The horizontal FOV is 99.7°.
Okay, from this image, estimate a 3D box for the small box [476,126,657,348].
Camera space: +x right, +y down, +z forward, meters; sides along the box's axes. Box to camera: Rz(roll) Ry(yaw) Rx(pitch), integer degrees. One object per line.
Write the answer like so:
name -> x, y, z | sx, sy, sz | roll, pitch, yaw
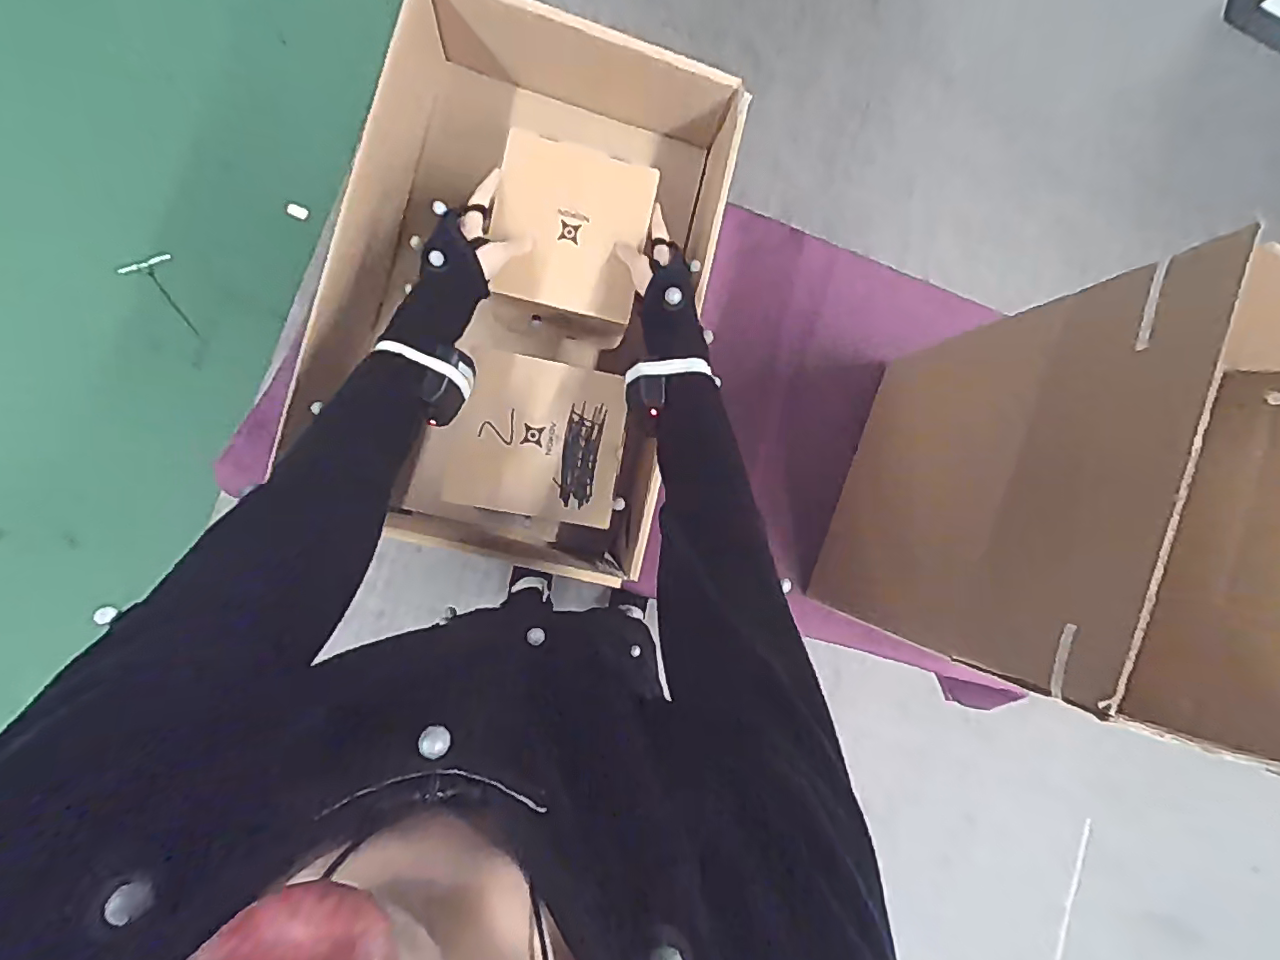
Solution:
small box -> -0.086, -0.274, 0.658 | 0.168, 0.176, 0.179 | 12, 89, -8
